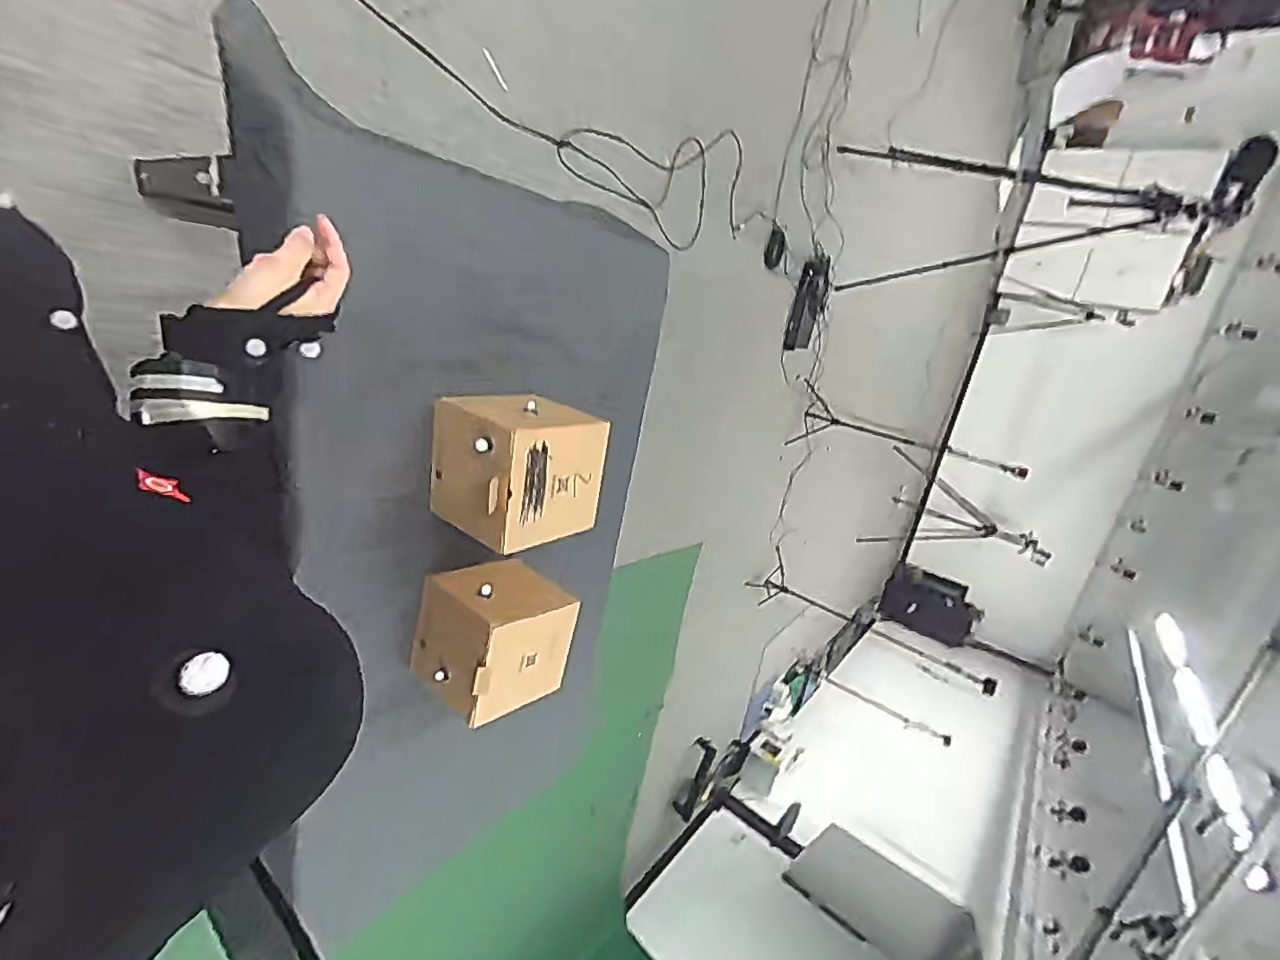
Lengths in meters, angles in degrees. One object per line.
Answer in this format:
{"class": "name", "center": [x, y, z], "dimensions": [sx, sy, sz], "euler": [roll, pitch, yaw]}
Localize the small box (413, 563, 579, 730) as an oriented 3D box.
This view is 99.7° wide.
{"class": "small box", "center": [-0.230, 0.247, 0.851], "dimensions": [0.179, 0.176, 0.168], "euler": [-4, 113, -54]}
